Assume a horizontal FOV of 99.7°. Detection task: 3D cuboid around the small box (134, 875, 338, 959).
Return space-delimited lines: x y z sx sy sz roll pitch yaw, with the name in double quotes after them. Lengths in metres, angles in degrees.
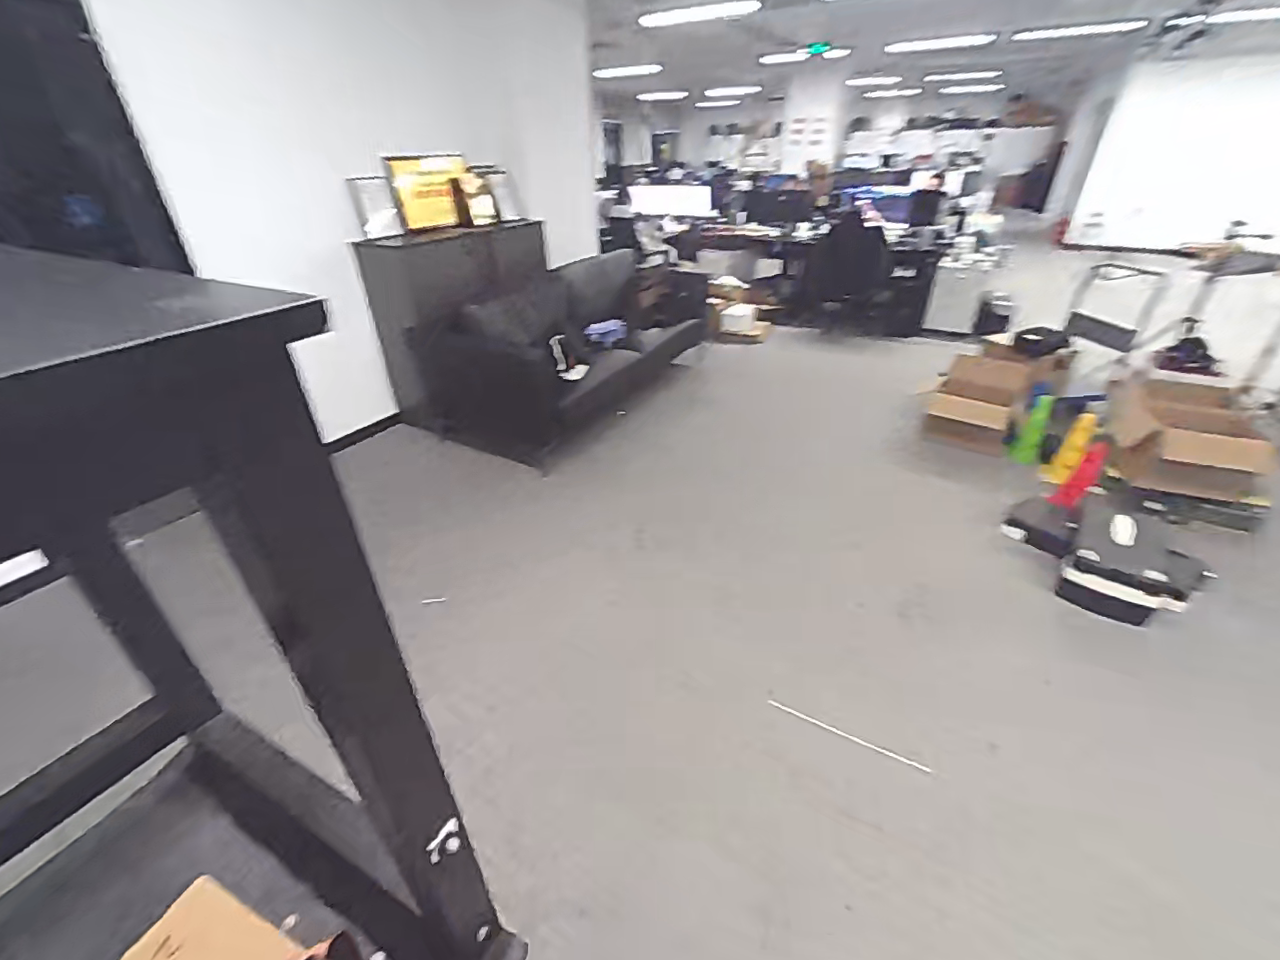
-0.381 0.524 0.504 0.179 0.176 0.168 8 37 24 "small box"
